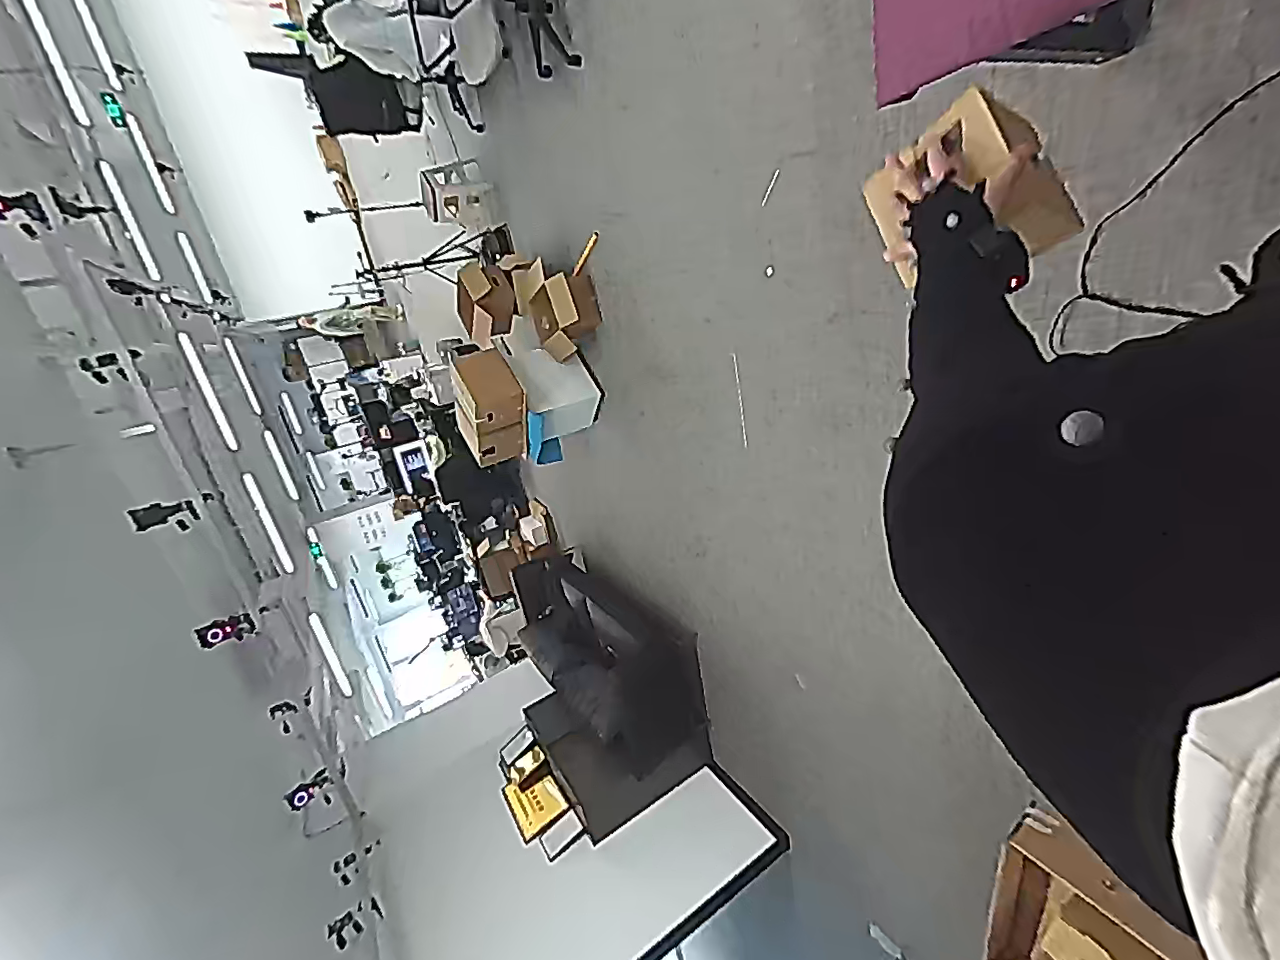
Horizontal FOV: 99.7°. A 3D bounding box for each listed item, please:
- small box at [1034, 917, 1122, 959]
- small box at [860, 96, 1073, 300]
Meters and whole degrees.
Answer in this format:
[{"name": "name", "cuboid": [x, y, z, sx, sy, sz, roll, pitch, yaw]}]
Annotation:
[{"name": "small box", "cuboid": [1.165, 1.328, 1.431, 0.168, 0.176, 0.179, 25, 129, 54]}, {"name": "small box", "cuboid": [0.448, -0.371, 0.749, 0.168, 0.176, 0.179, -34, 69, 52]}]
